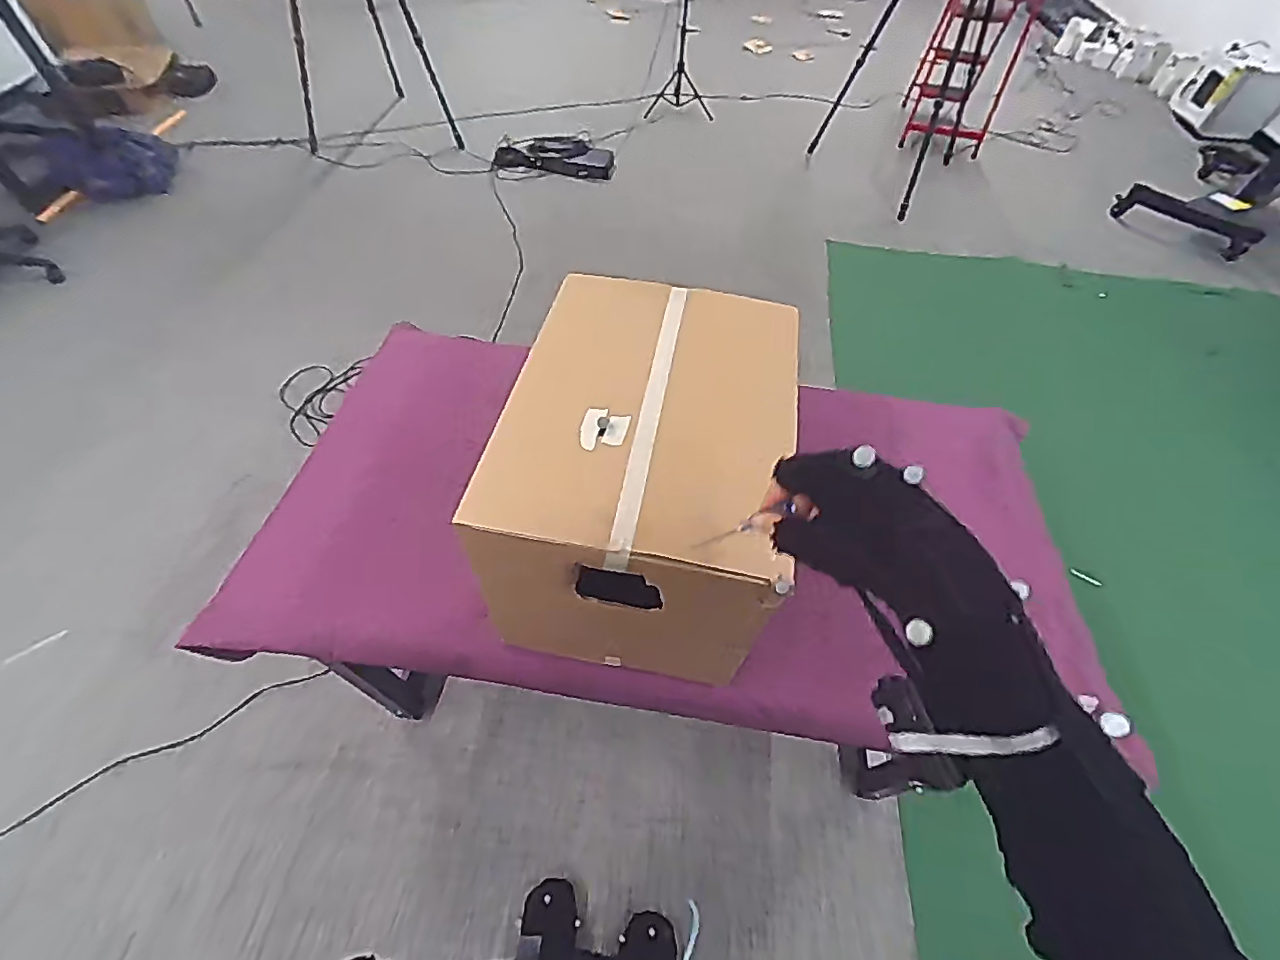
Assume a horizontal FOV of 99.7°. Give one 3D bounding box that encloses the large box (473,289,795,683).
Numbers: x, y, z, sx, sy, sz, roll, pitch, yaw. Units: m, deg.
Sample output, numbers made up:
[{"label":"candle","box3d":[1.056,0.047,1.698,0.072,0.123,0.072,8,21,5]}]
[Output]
[{"label":"large box","box3d":[0.013,0.008,0.737,0.320,0.320,0.408,10,54,4]}]
